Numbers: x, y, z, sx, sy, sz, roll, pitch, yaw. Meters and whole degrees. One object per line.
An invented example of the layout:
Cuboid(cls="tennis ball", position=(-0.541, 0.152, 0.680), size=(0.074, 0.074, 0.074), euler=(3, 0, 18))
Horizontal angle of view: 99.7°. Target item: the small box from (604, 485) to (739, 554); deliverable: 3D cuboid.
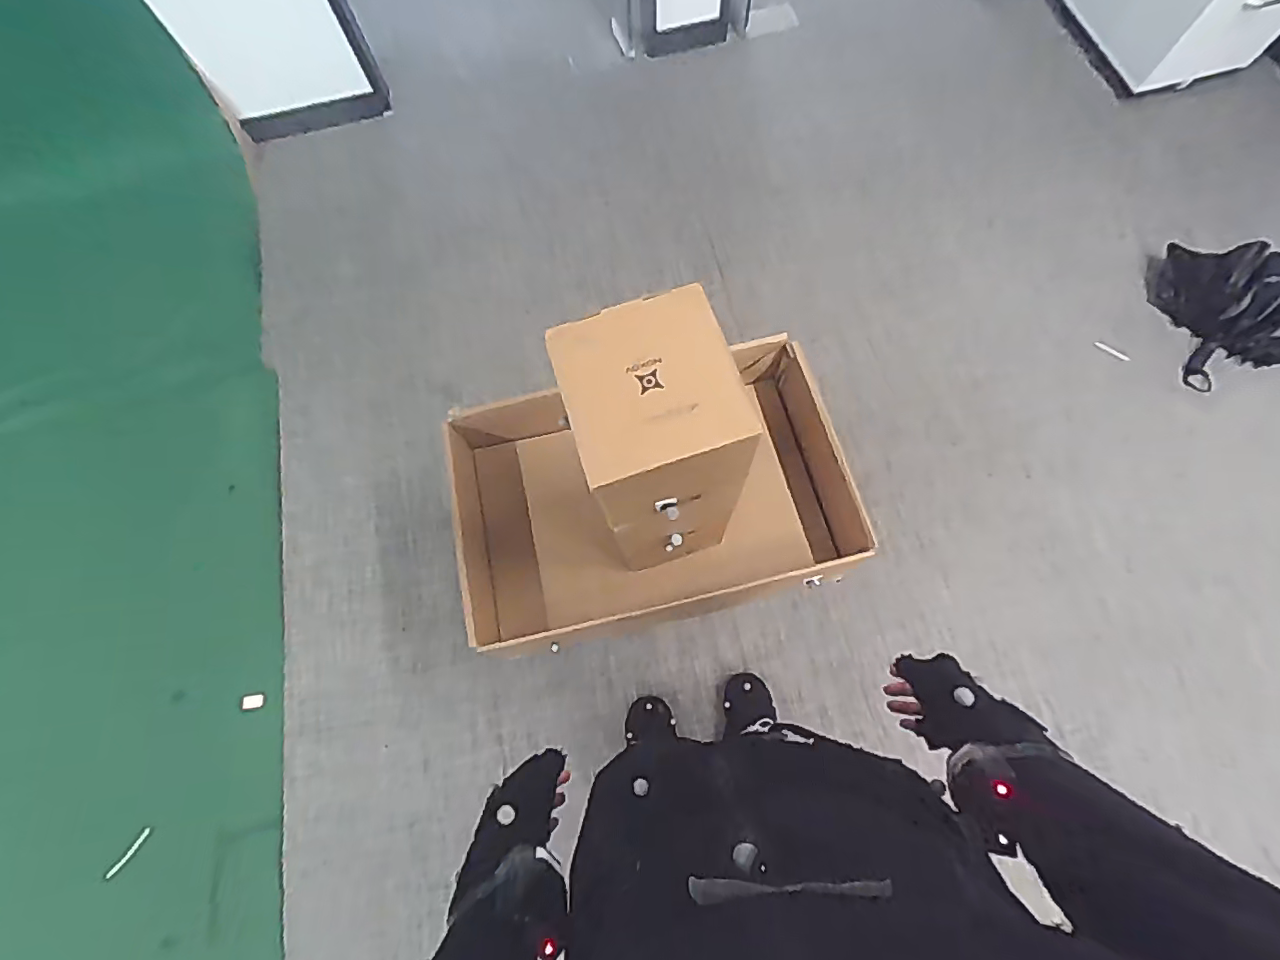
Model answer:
Cuboid(cls="small box", position=(0.022, -0.016, 0.743), size=(0.168, 0.176, 0.179), euler=(-18, 71, -2))

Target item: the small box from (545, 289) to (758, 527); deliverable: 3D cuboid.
Cuboid(cls="small box", position=(0.011, -0.067, 0.591), size=(0.168, 0.176, 0.179), euler=(-19, 72, -1))

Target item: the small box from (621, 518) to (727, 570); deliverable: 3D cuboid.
Cuboid(cls="small box", position=(0.034, 0.032, 0.900), size=(0.168, 0.176, 0.179), euler=(-19, 70, -1))
